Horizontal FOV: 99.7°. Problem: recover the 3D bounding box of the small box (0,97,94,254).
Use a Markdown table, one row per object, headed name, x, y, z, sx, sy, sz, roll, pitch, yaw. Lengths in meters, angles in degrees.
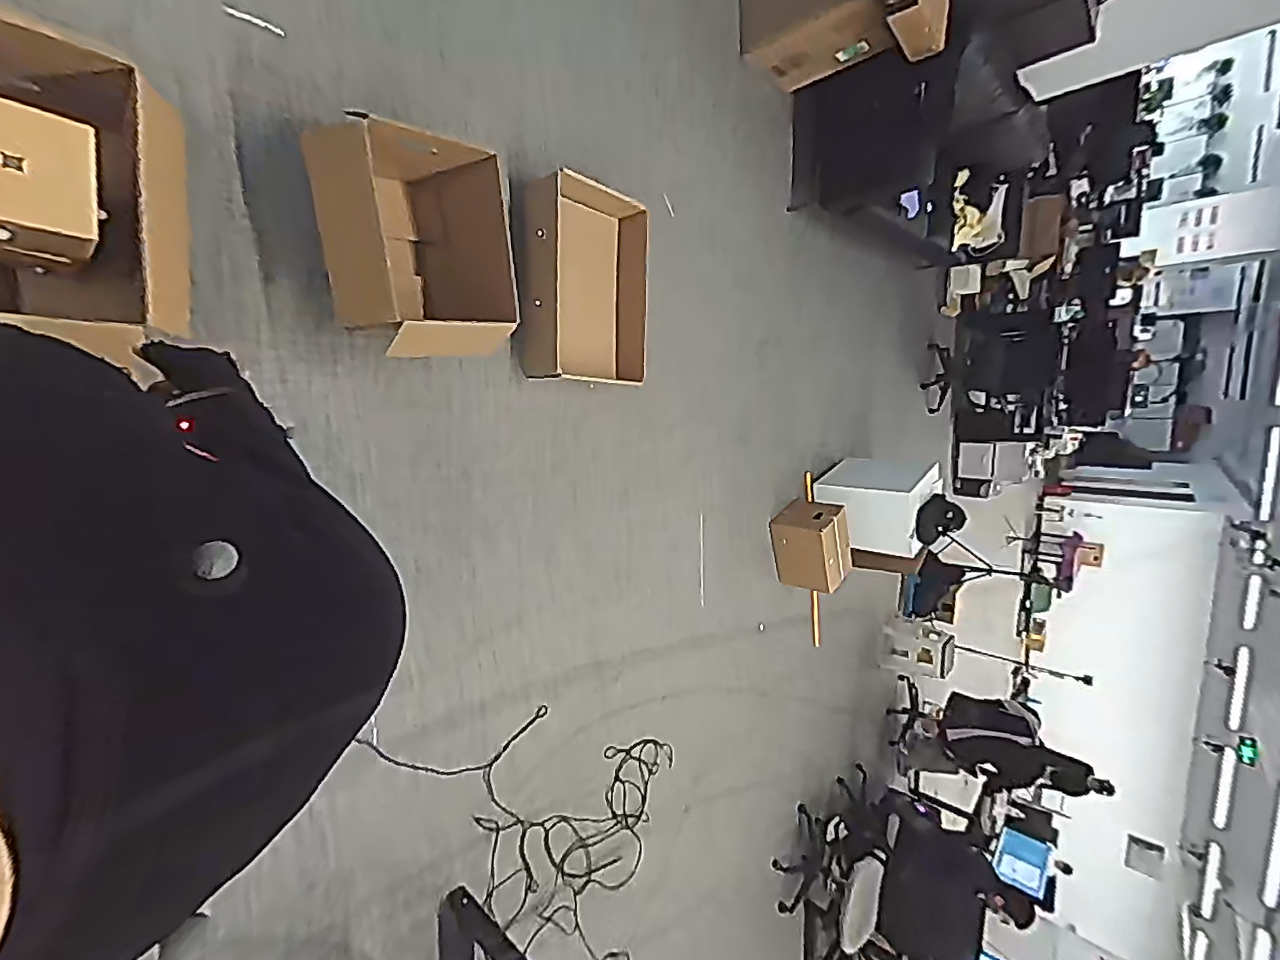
| name | x | y | z | sx | sy | sz | roll | pitch | yaw |
| --- | --- | --- | --- | --- | --- | --- | --- | --- | --- |
| small box | -0.934 | -0.446 | 0.791 | 0.179 | 0.176 | 0.168 | -3 | 96 | -48 |
